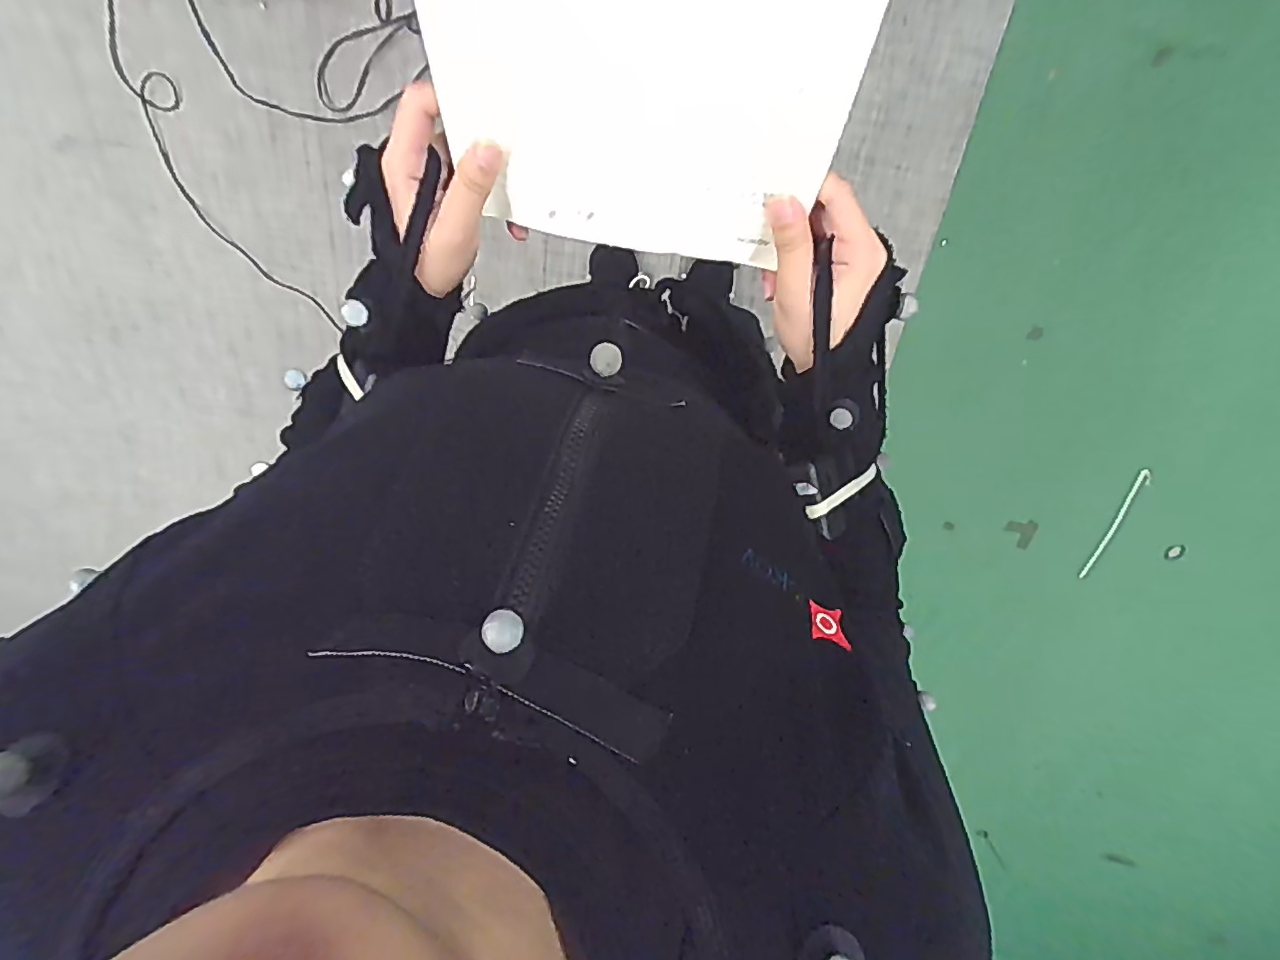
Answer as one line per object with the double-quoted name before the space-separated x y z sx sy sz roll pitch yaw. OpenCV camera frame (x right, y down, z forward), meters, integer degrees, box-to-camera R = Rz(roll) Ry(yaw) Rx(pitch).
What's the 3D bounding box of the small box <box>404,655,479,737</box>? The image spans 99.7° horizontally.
"small box" -0.621 0.682 1.720 0.179 0.176 0.168 7 116 4
